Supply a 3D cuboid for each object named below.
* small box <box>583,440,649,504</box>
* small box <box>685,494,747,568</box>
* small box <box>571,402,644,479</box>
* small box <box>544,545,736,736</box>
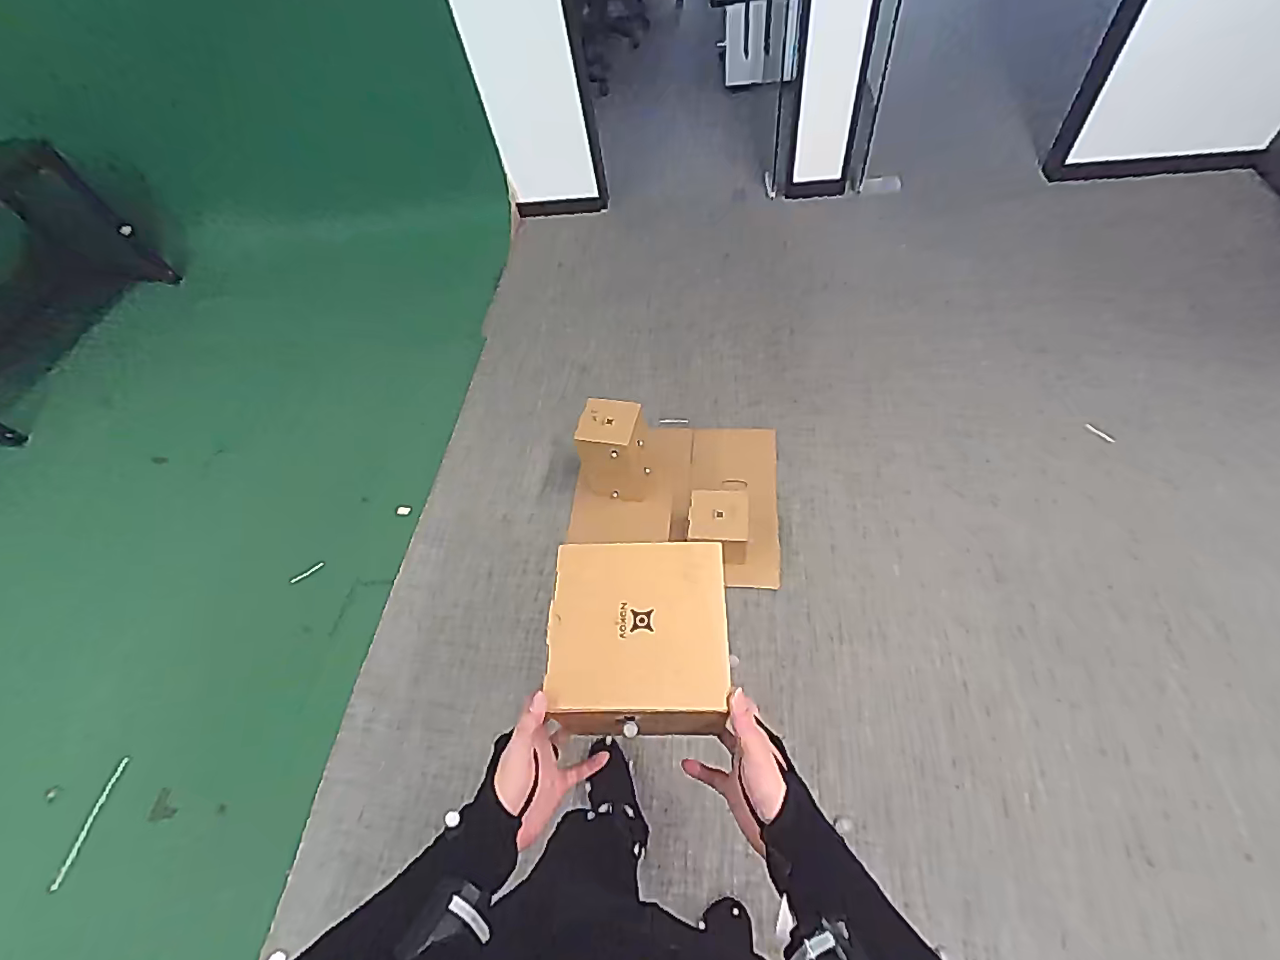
[{"bbox_3d":[-0.074,-0.035,1.831,0.179,0.176,0.168,9,58,13],"label":"small box"},{"bbox_3d":[0.237,0.159,1.658,0.179,0.176,0.168,2,57,10],"label":"small box"},{"bbox_3d":[-0.092,-0.120,1.689,0.179,0.176,0.168,8,58,14],"label":"small box"},{"bbox_3d":[0.006,0.180,0.595,0.179,0.176,0.168,-2,58,5],"label":"small box"}]
